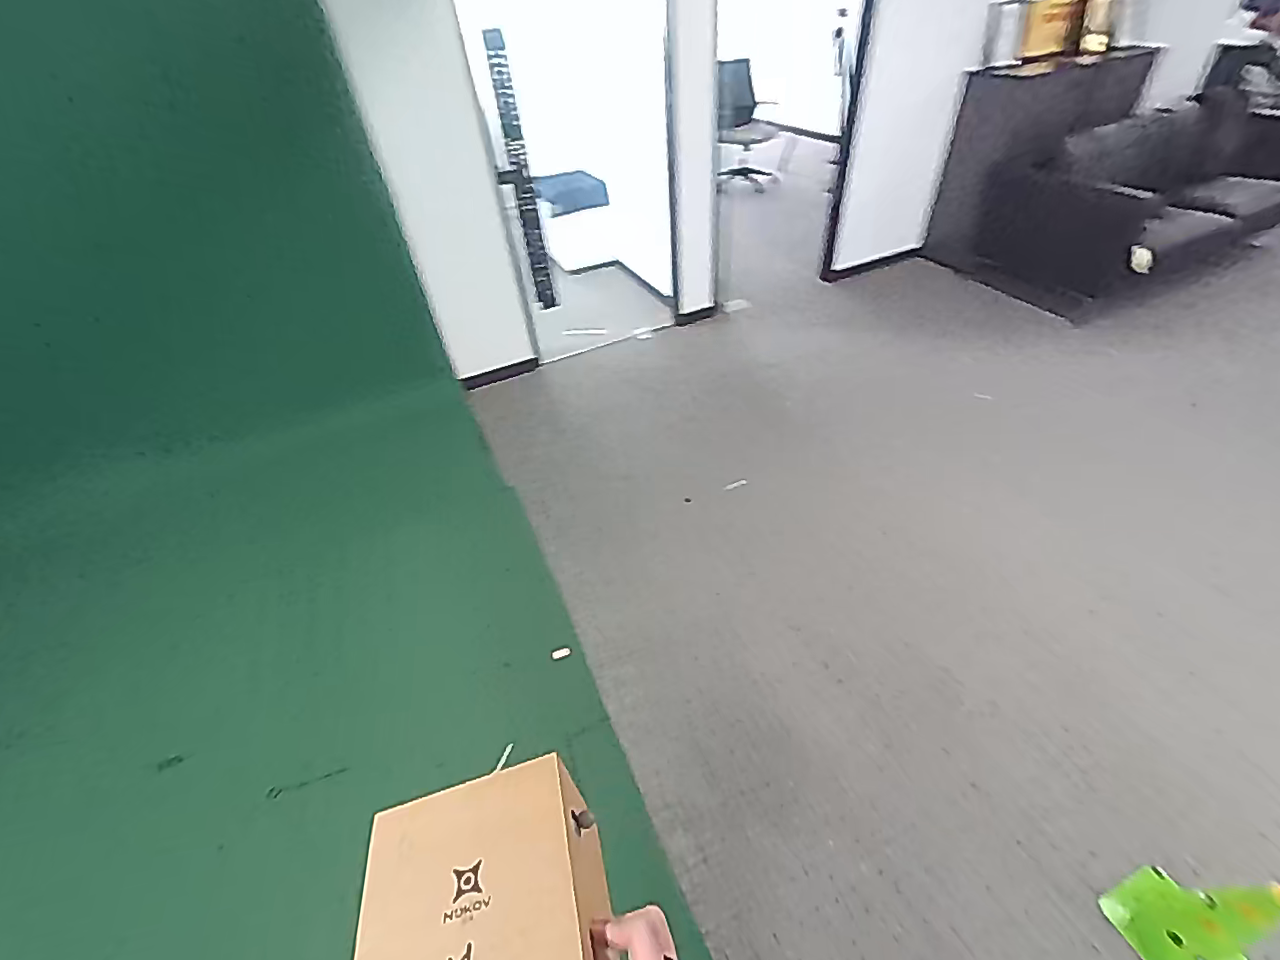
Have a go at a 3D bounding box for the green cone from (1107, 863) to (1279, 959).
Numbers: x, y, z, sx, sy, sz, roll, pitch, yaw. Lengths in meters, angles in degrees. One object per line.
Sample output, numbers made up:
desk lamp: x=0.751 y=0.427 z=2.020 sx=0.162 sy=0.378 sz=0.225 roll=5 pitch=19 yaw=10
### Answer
green cone: x=1.165 y=0.865 z=1.068 sx=0.200 sy=0.368 sz=0.202 roll=-20 pitch=45 yaw=-14
